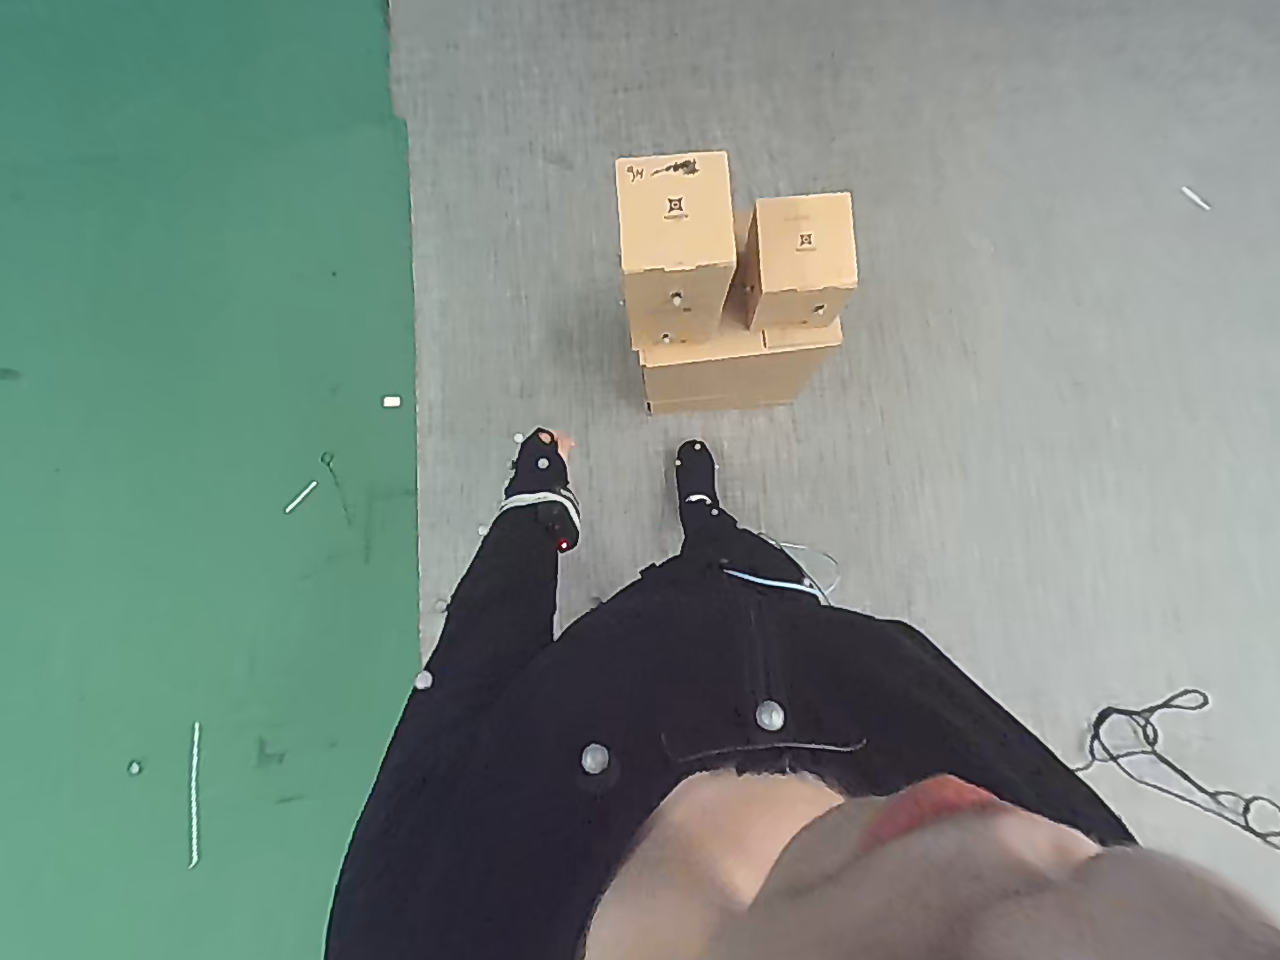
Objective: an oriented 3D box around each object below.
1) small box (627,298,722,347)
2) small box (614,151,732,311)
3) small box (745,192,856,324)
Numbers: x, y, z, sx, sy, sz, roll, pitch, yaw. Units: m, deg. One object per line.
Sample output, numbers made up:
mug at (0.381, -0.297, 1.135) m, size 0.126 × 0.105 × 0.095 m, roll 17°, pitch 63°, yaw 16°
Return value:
small box at (0.056, -0.367, 1.017) m, size 0.168 × 0.176 × 0.179 m, roll -4°, pitch 85°, yaw 1°
small box at (0.050, -0.378, 0.853) m, size 0.168 × 0.176 × 0.179 m, roll -3°, pitch 86°, yaw 1°
small box at (0.290, -0.400, 1.007) m, size 0.168 × 0.176 × 0.179 m, roll -1°, pitch 83°, yaw 3°
